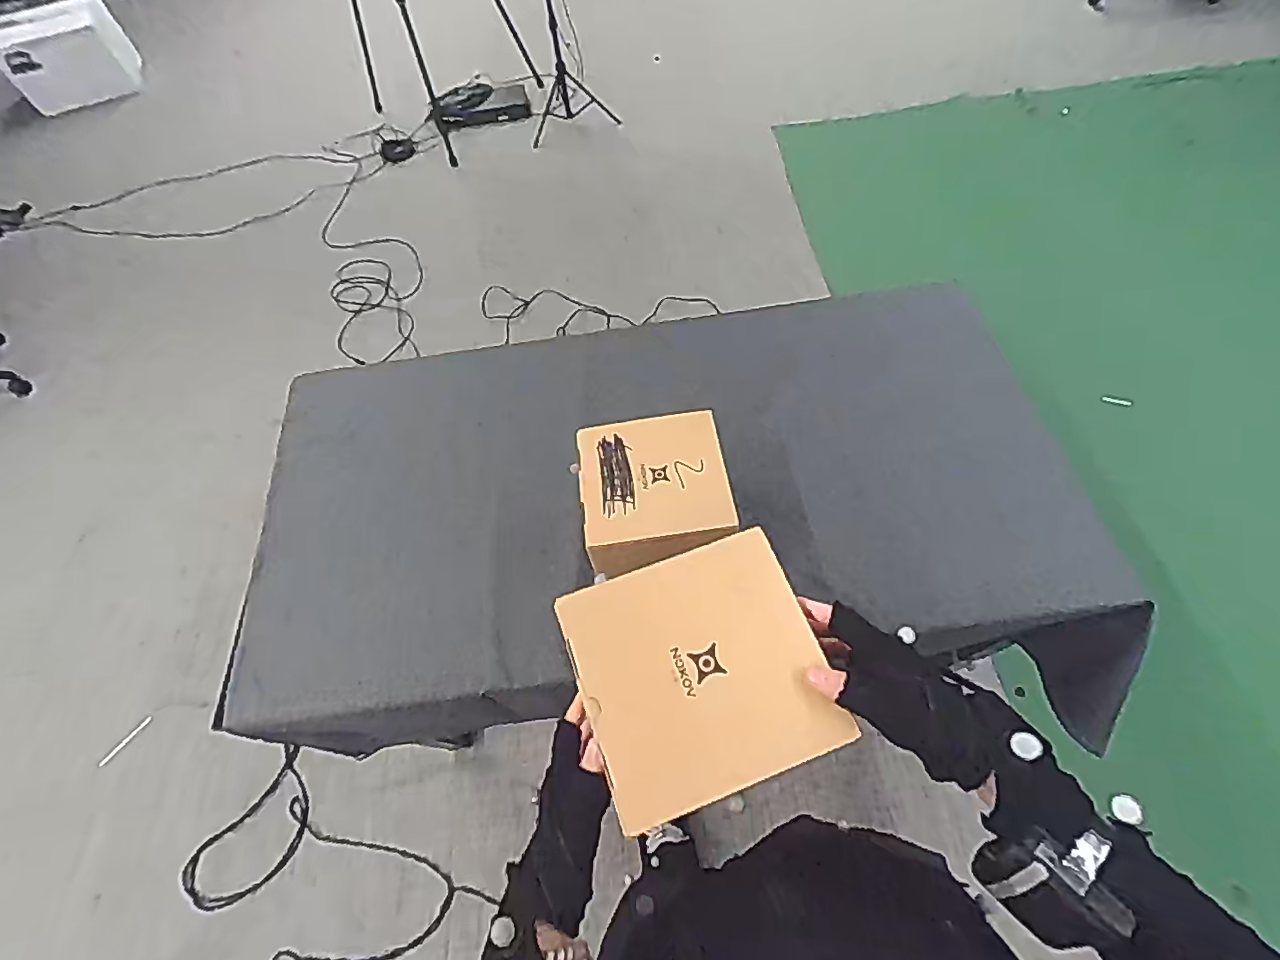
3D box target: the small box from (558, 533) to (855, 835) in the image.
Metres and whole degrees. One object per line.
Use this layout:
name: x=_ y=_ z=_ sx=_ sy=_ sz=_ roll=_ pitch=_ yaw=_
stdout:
small box: x=0.044 y=0.169 z=0.467 sx=0.179 sy=0.176 sz=0.168 roll=-19 pitch=66 yaw=-7
